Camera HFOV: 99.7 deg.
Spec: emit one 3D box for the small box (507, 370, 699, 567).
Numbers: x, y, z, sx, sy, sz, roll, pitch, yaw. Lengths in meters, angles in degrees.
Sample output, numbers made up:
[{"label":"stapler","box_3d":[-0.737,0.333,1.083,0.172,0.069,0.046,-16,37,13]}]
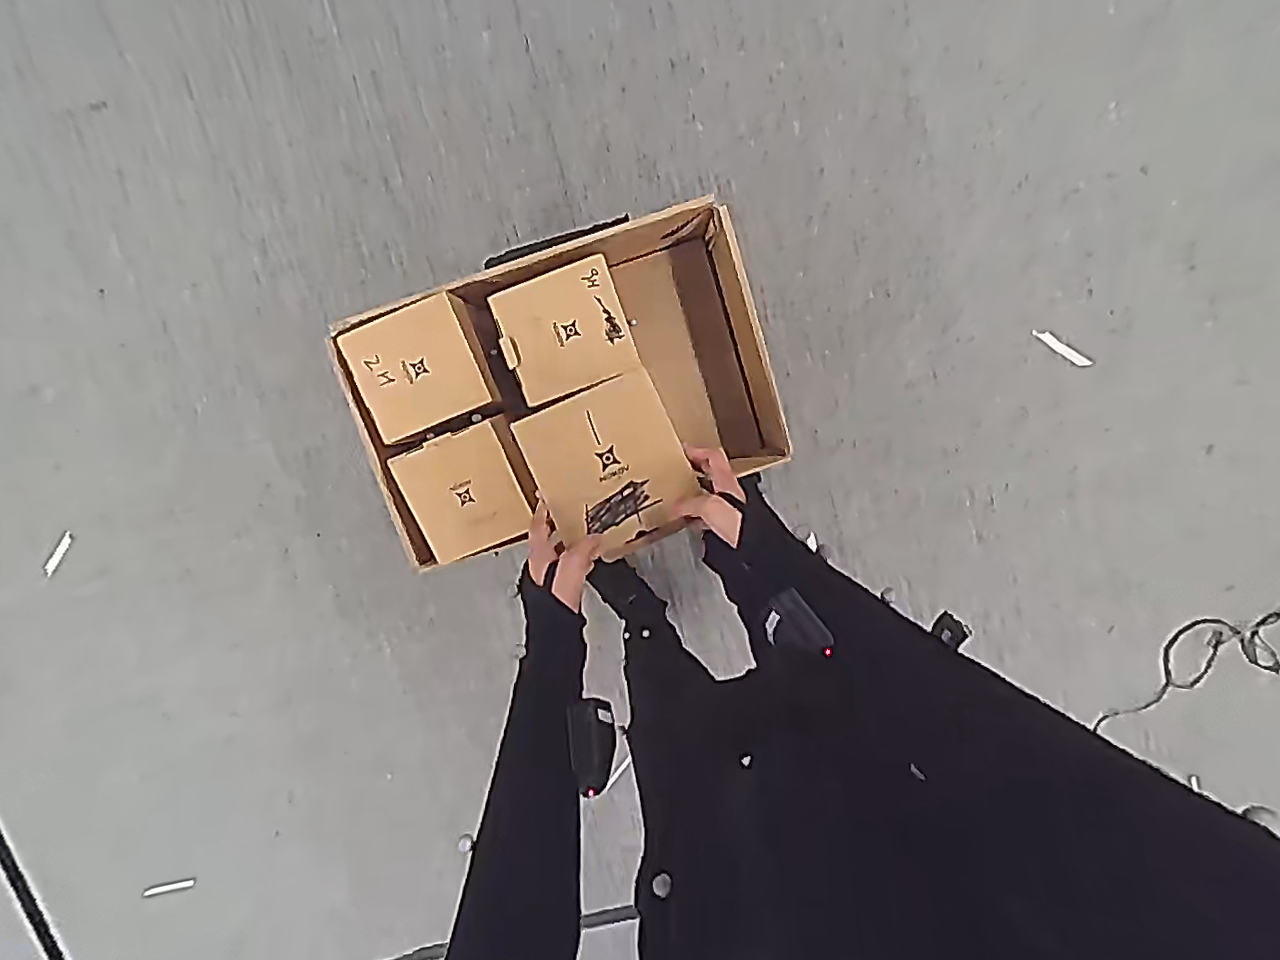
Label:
[{"label":"small box","box_3d":[-0.042,-0.013,0.676,0.168,0.176,0.179,-25,90,-3]}]
